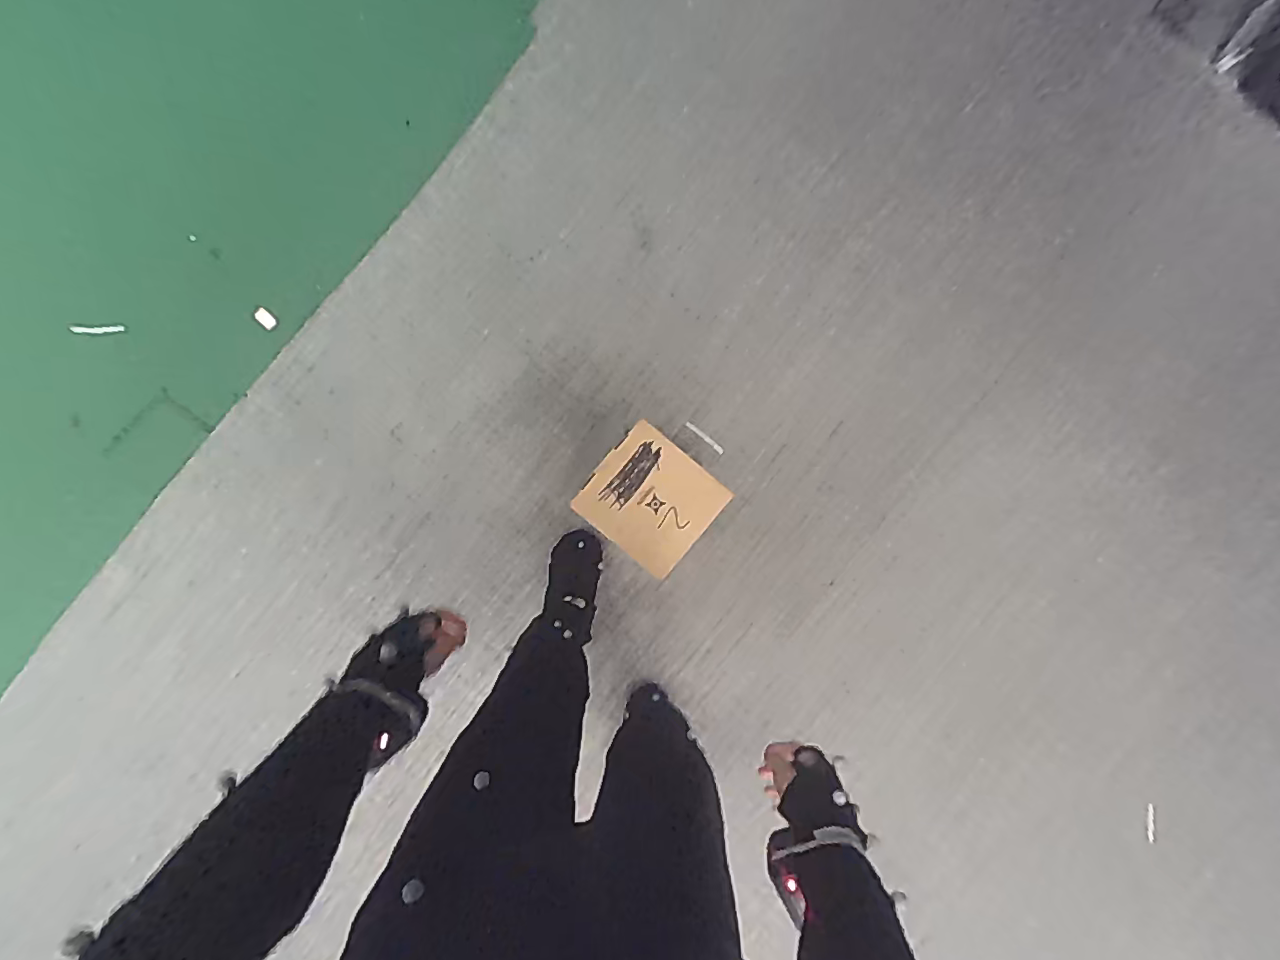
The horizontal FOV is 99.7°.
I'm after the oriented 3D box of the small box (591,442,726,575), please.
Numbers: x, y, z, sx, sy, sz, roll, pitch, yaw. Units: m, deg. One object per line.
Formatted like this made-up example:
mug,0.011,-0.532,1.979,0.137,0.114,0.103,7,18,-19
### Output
small box,0.032,0.046,1.005,0.179,0.176,0.168,38,90,-1
